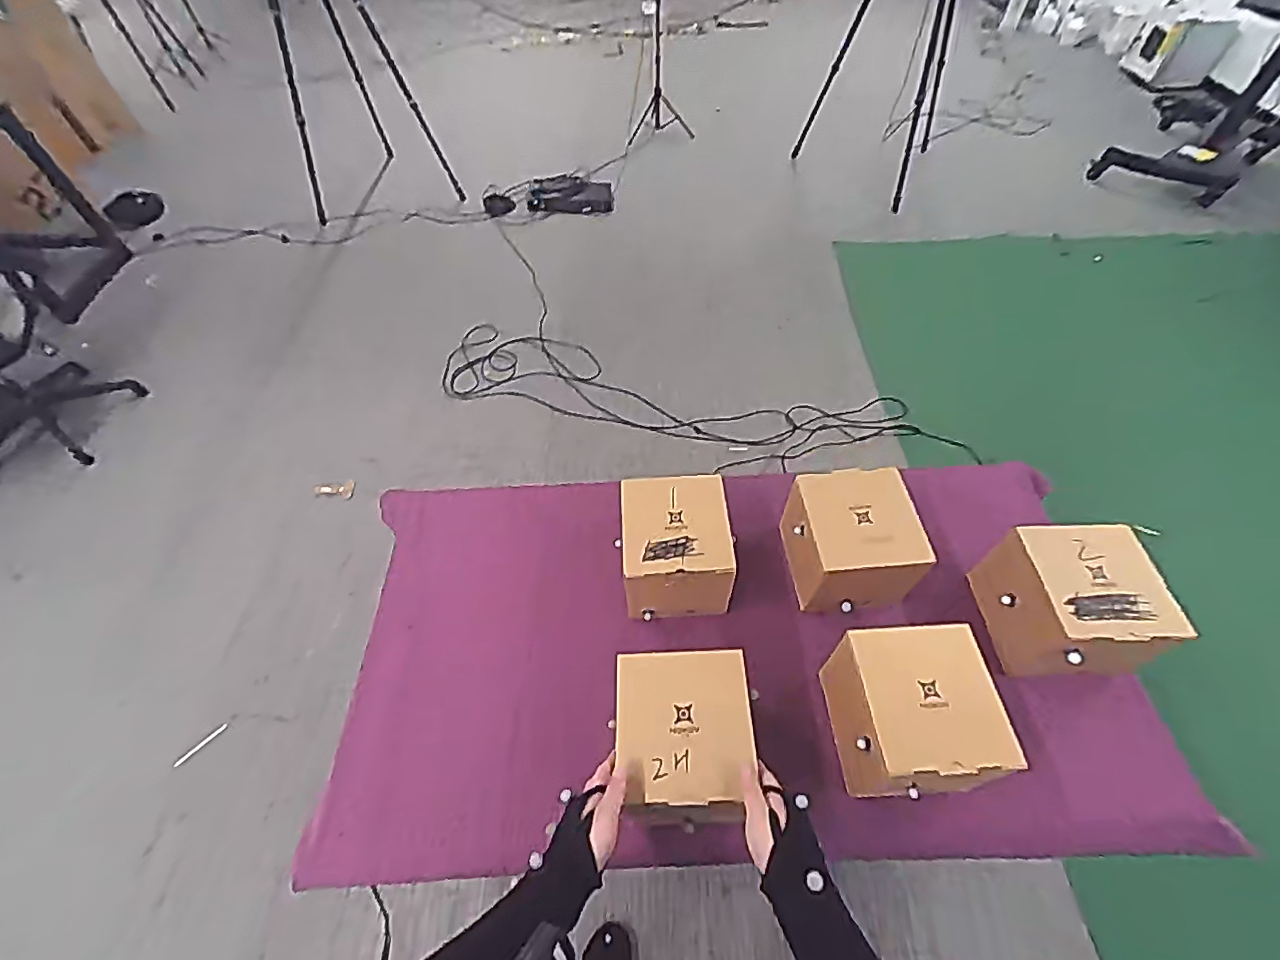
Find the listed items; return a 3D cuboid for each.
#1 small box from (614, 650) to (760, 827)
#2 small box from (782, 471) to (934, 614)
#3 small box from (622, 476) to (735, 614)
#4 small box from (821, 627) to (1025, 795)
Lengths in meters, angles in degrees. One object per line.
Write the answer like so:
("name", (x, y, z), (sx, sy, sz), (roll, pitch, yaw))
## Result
("small box", (0.058, 0.342, 0.714), (0.168, 0.176, 0.179), (-3, 50, 4))
("small box", (0.343, 0.106, 0.895), (0.168, 0.176, 0.179), (-4, 55, 0))
("small box", (0.058, 0.114, 0.895), (0.168, 0.176, 0.179), (-3, 53, 0))
("small box", (0.363, 0.317, 0.739), (0.168, 0.176, 0.179), (-3, 54, -1))
